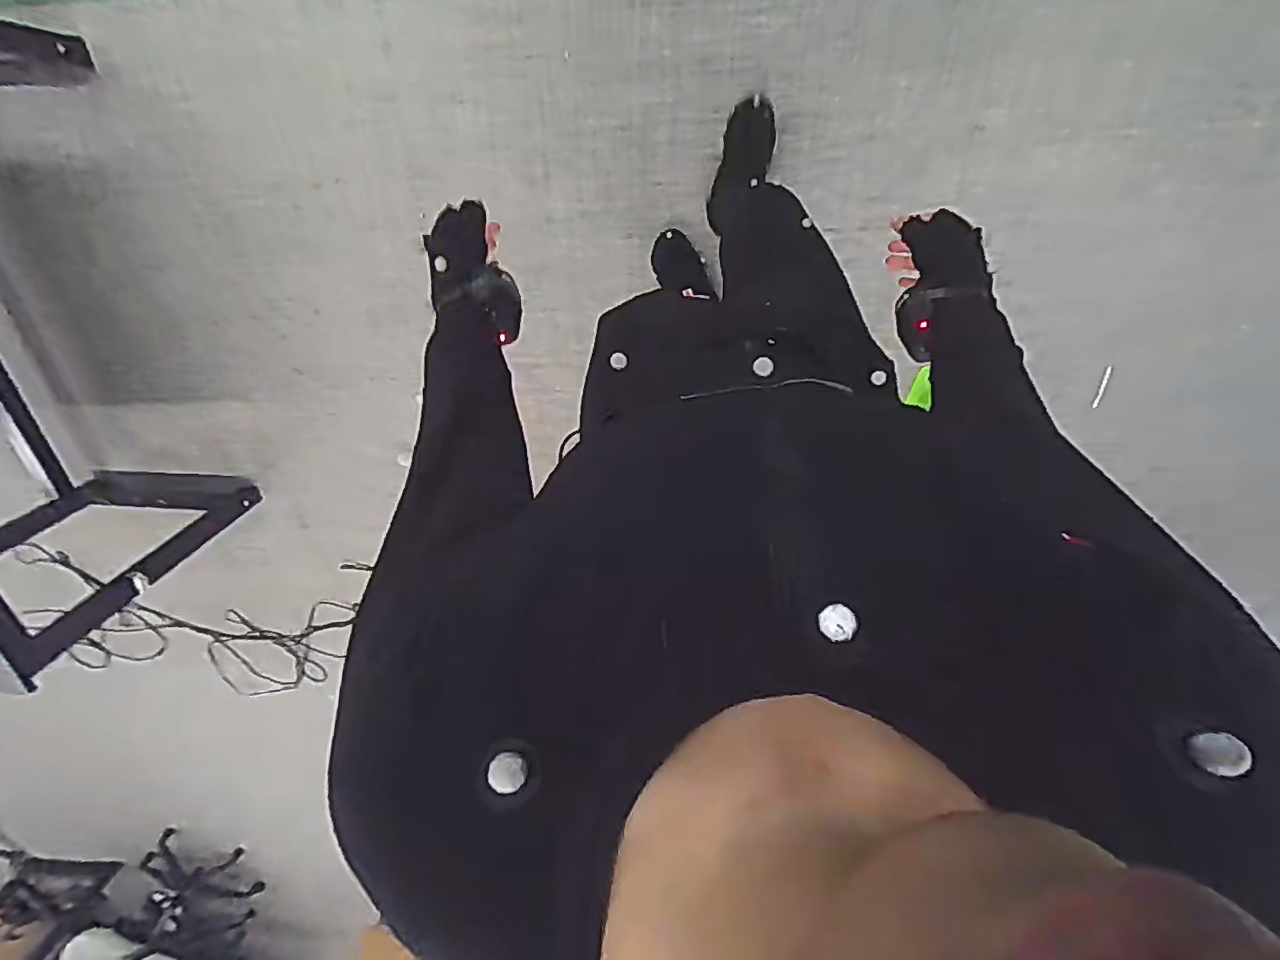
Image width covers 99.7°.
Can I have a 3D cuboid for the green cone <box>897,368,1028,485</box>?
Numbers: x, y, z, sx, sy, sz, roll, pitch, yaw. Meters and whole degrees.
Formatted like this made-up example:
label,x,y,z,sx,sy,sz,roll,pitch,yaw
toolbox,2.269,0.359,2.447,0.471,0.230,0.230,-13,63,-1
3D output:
label,x,y,z,sx,sy,sz,roll,pitch,yaw
green cone,0.776,-0.098,1.244,0.200,0.368,0.202,11,120,0
